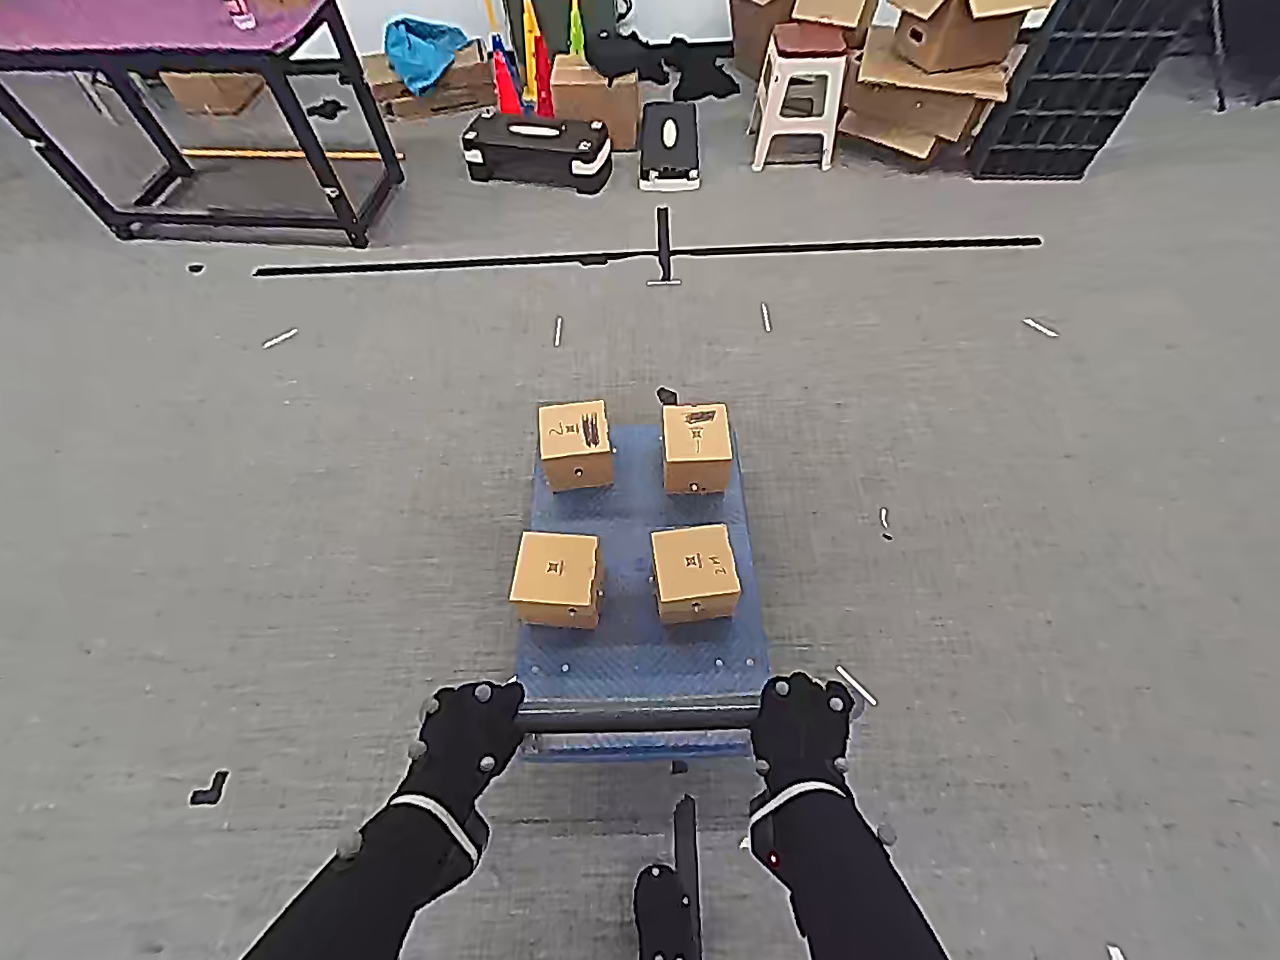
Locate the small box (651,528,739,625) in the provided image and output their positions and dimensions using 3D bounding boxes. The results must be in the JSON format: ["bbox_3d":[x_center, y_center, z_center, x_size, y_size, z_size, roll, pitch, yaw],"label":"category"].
[{"bbox_3d":[0.122,0.229,1.260,0.179,0.176,0.168,-6,59,-2],"label":"small box"}]

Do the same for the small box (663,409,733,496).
[{"bbox_3d":[0.148,-0.071,1.443,0.168,0.176,0.179,-2,60,1],"label":"small box"}]

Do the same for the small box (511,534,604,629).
[{"bbox_3d":[-0.185,0.240,1.262,0.179,0.176,0.168,4,58,2],"label":"small box"}]
